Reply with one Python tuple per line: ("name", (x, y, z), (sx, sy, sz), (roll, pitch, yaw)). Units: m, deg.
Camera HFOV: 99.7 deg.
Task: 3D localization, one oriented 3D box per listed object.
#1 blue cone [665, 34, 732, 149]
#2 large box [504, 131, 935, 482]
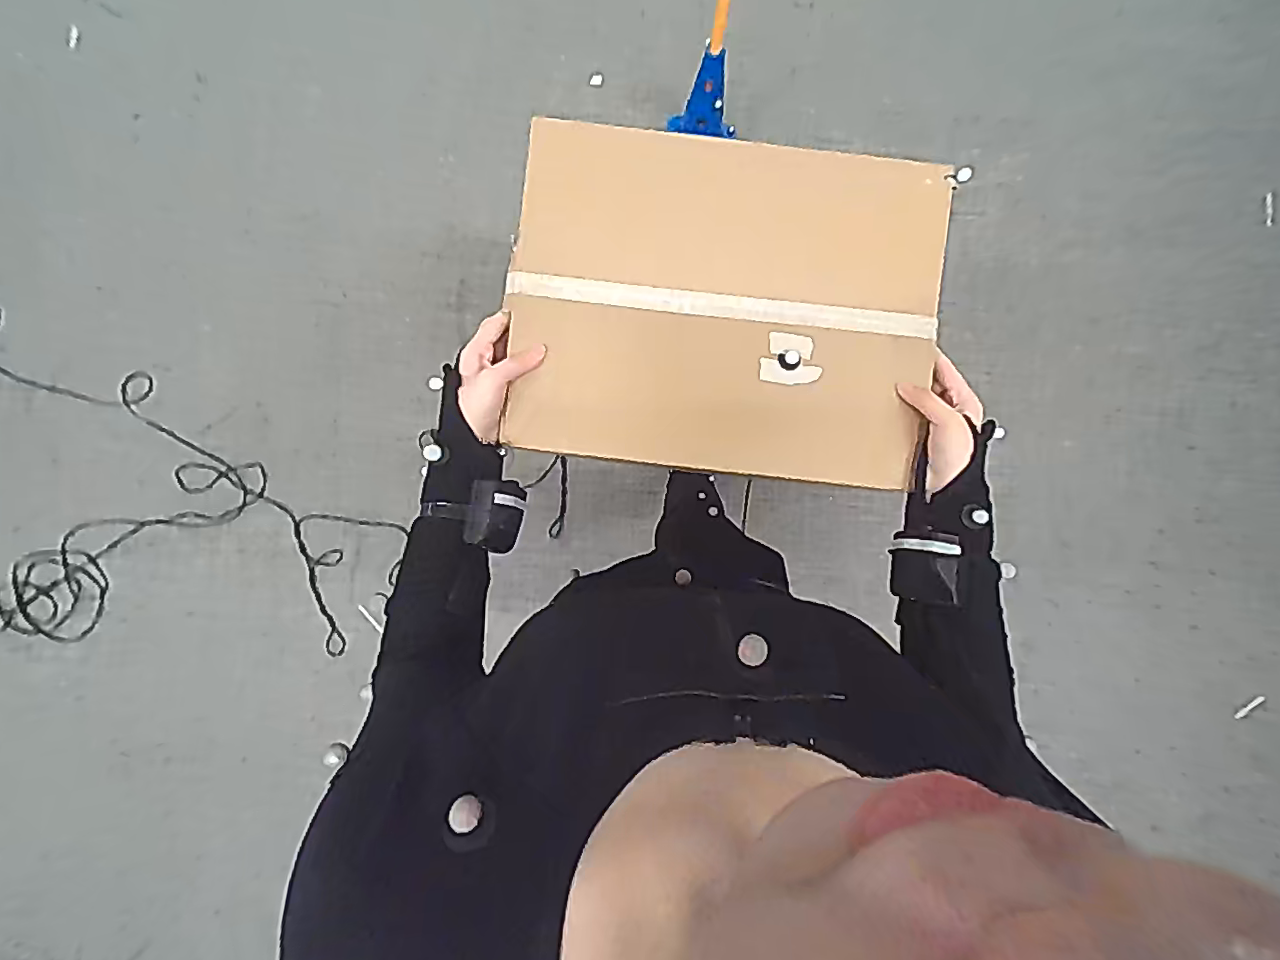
("blue cone", (0.162, -0.949, 1.380), (0.193, 0.380, 0.192), (13, 86, 0))
("large box", (0.072, -0.167, 0.669), (0.408, 0.320, 0.320), (6, 91, -2))
